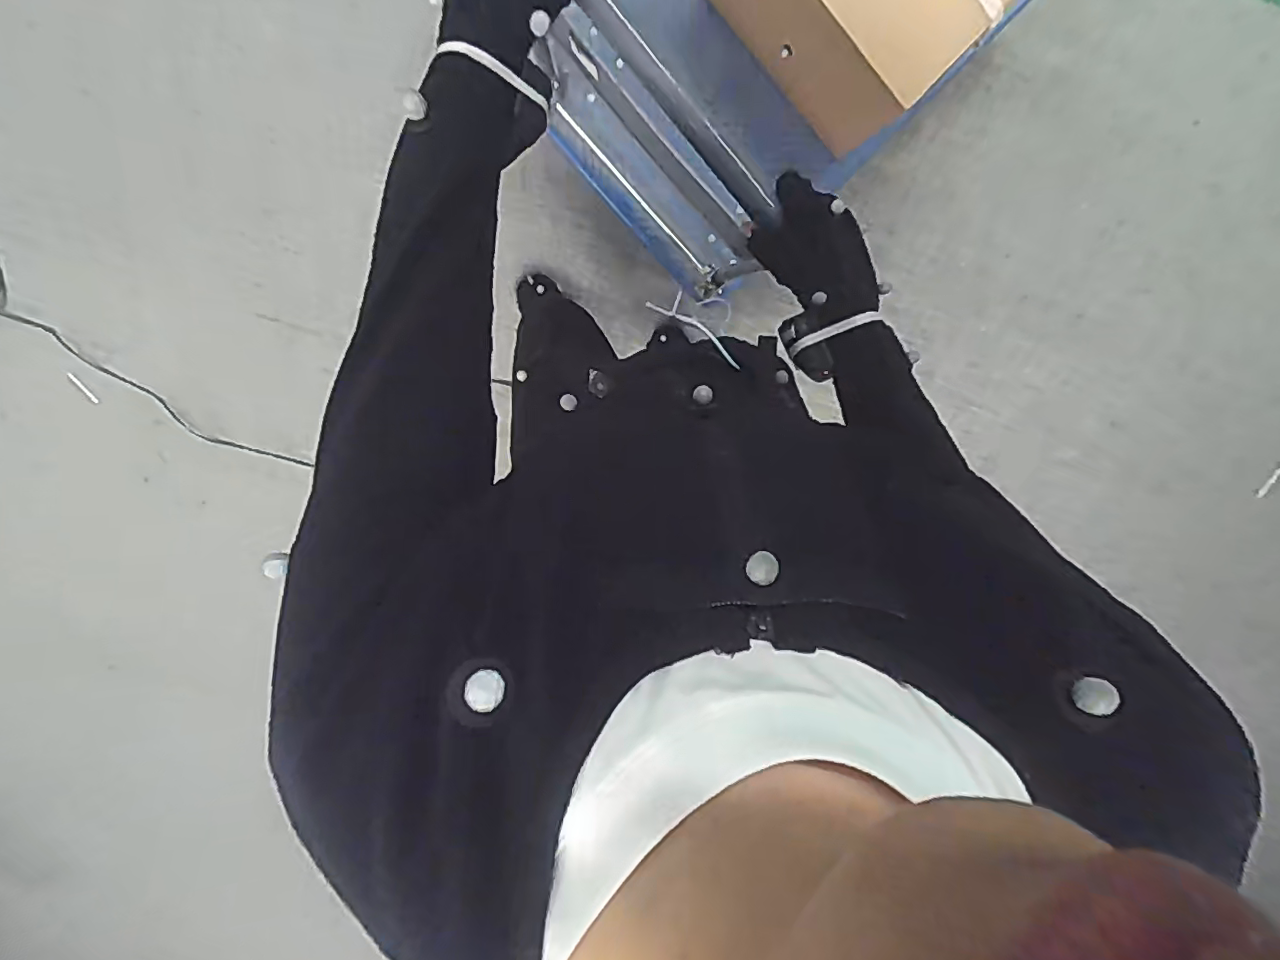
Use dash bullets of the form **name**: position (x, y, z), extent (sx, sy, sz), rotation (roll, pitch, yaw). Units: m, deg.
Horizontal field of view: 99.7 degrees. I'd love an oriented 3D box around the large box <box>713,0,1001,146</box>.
- **large box**: position (0.358, -0.842, 0.865), extent (0.408, 0.320, 0.320), rotation (41, 104, -12)
